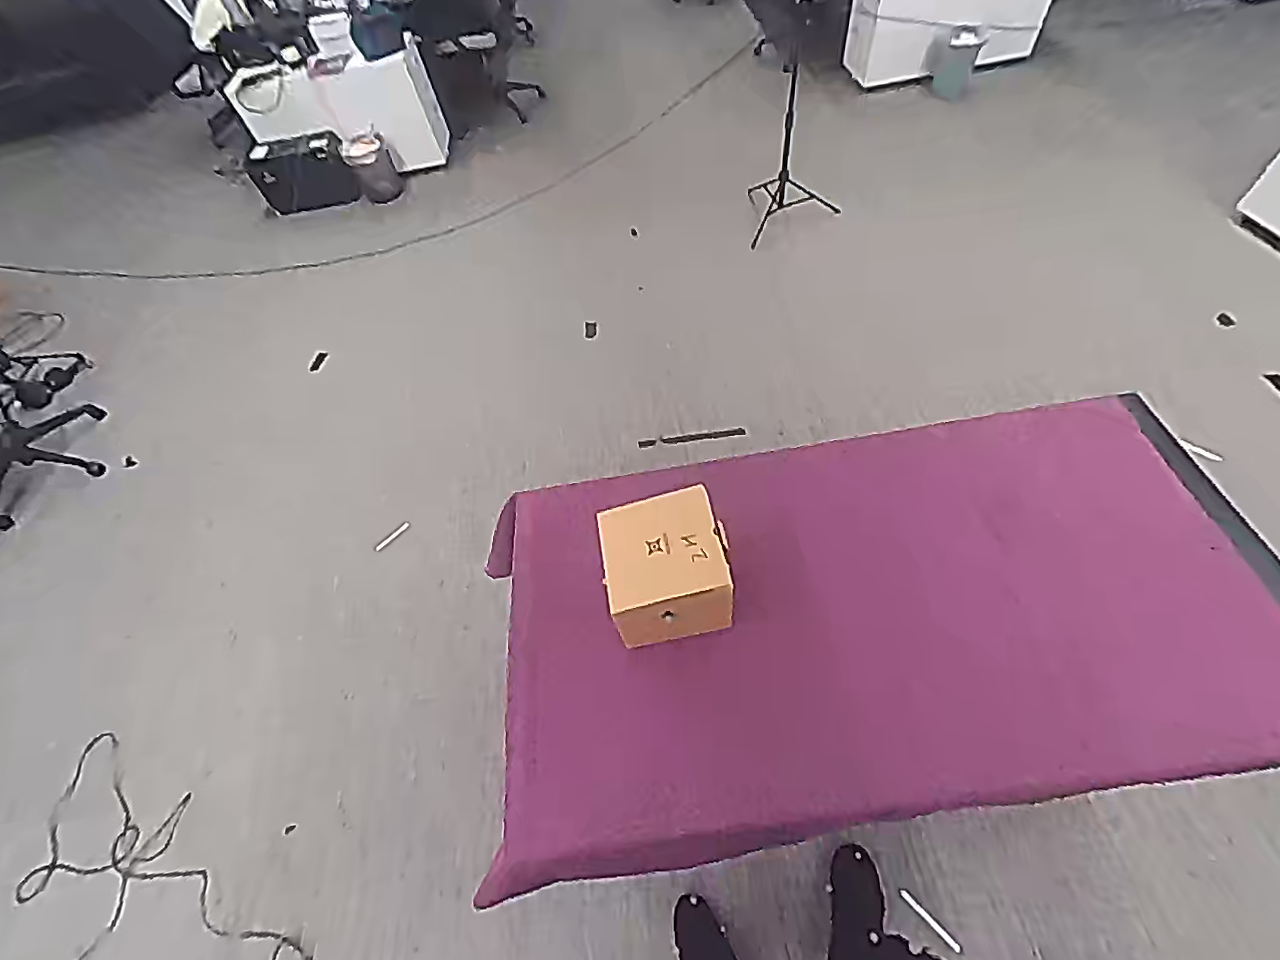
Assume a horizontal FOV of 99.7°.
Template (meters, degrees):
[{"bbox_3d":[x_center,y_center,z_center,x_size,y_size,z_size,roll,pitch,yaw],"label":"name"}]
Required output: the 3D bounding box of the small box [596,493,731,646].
[{"bbox_3d":[0.039,0.147,0.850,0.179,0.176,0.168,-11,56,0],"label":"small box"}]
